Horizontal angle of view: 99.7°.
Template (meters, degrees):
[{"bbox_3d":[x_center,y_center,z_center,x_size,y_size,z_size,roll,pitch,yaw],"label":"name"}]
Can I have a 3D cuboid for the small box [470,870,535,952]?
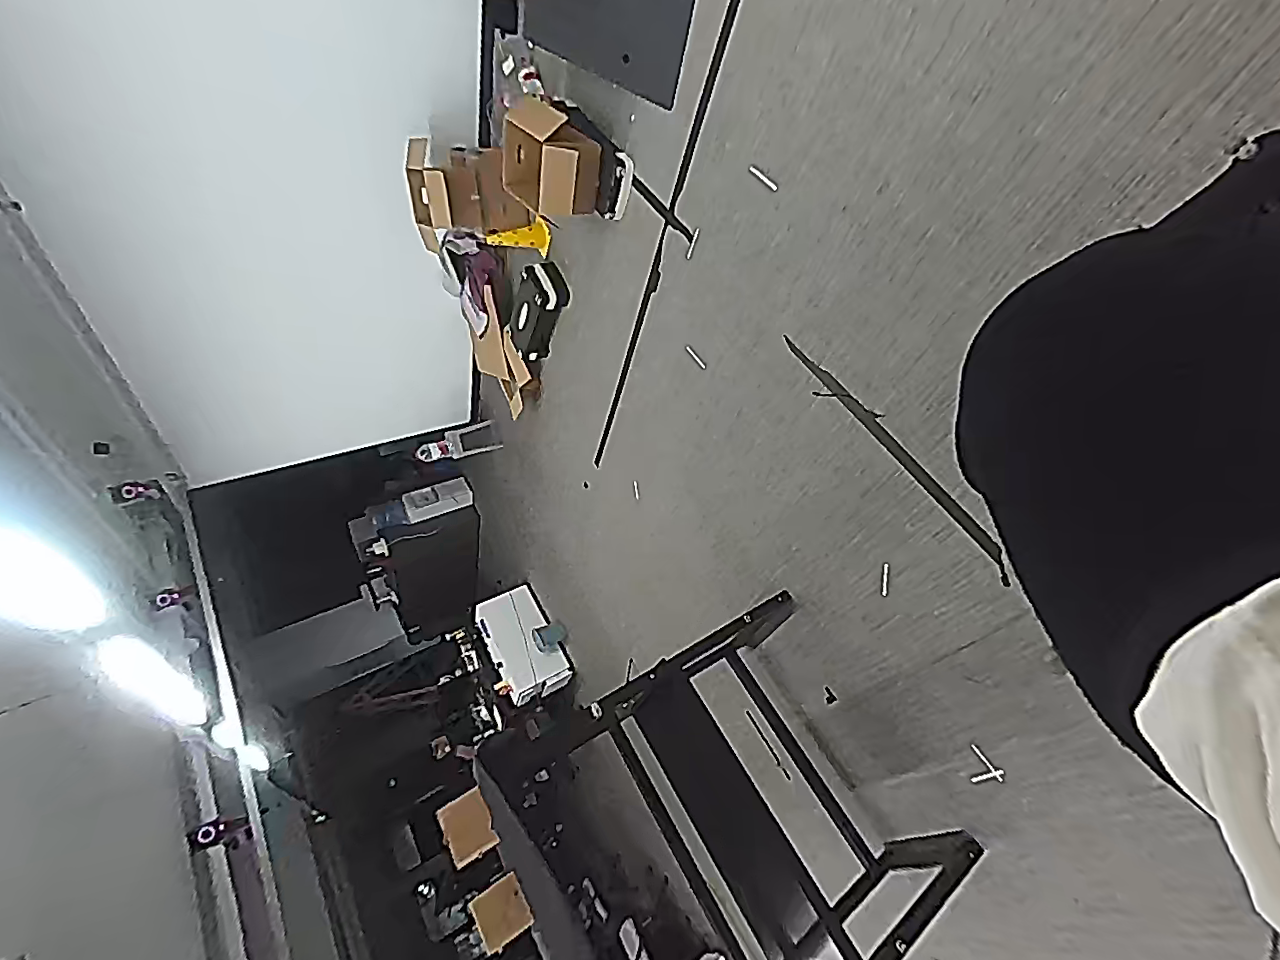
[{"bbox_3d":[-0.482,1.503,1.894,0.168,0.176,0.179,54,146,25],"label":"small box"}]

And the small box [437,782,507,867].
[{"bbox_3d":[-0.549,1.126,1.774,0.168,0.176,0.179,53,147,26],"label":"small box"}]
